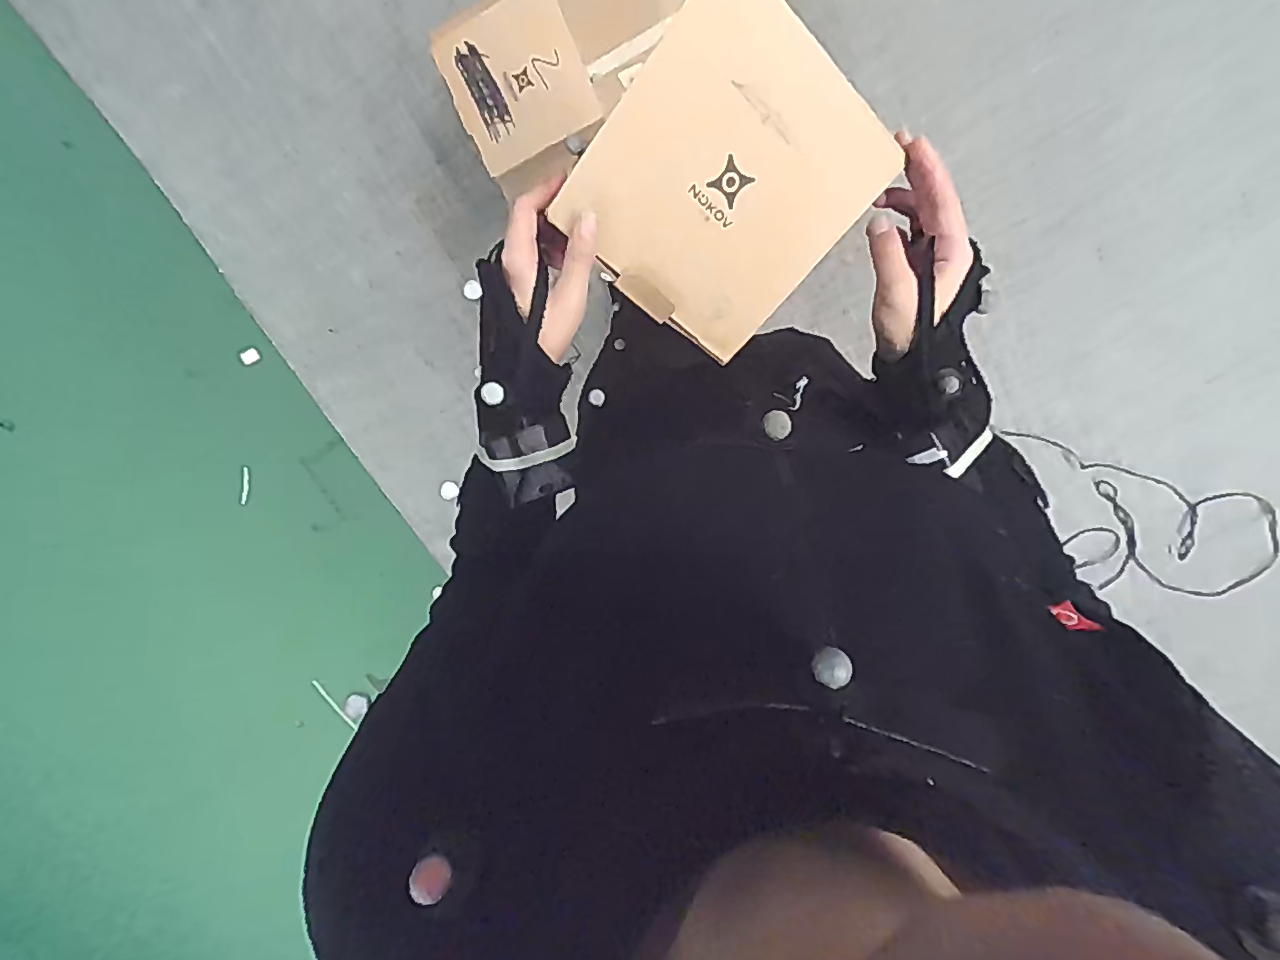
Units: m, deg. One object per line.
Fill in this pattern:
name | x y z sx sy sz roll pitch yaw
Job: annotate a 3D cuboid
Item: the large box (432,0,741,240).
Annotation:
large box | -0.075 -0.680 0.974 0.408 0.320 0.320 -22 110 11
